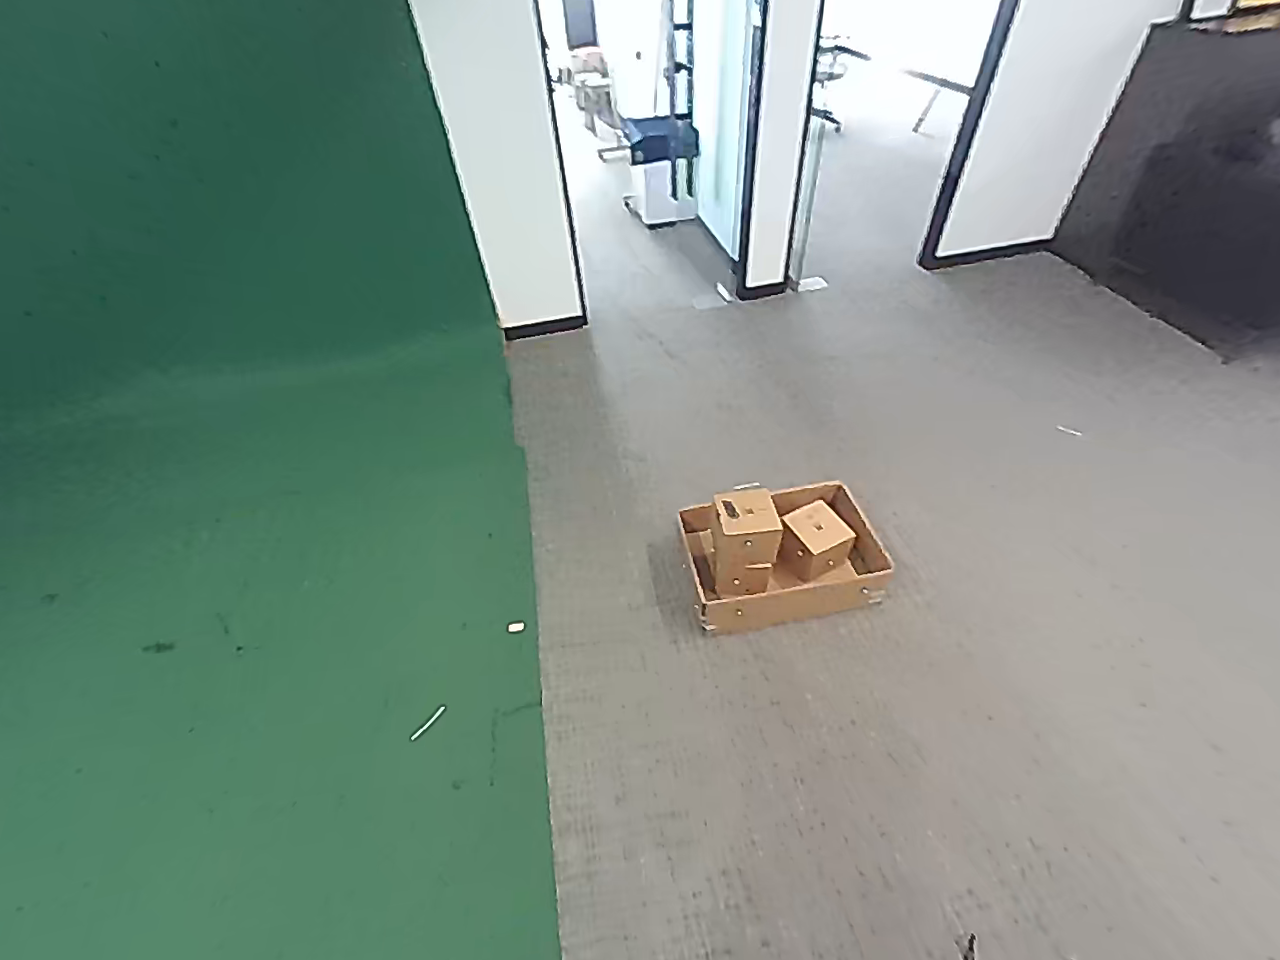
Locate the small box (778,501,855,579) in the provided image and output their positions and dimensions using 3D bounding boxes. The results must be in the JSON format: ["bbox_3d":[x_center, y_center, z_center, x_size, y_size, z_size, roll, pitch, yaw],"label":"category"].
[{"bbox_3d":[0.584,0.210,1.813,0.168,0.176,0.179,-22,48,-15],"label":"small box"}]

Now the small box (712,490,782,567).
[{"bbox_3d":[0.320,0.154,1.664,0.179,0.176,0.168,-6,46,-3],"label":"small box"}]

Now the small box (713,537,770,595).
[{"bbox_3d":[0.329,0.267,1.782,0.168,0.176,0.179,-1,45,3],"label":"small box"}]
